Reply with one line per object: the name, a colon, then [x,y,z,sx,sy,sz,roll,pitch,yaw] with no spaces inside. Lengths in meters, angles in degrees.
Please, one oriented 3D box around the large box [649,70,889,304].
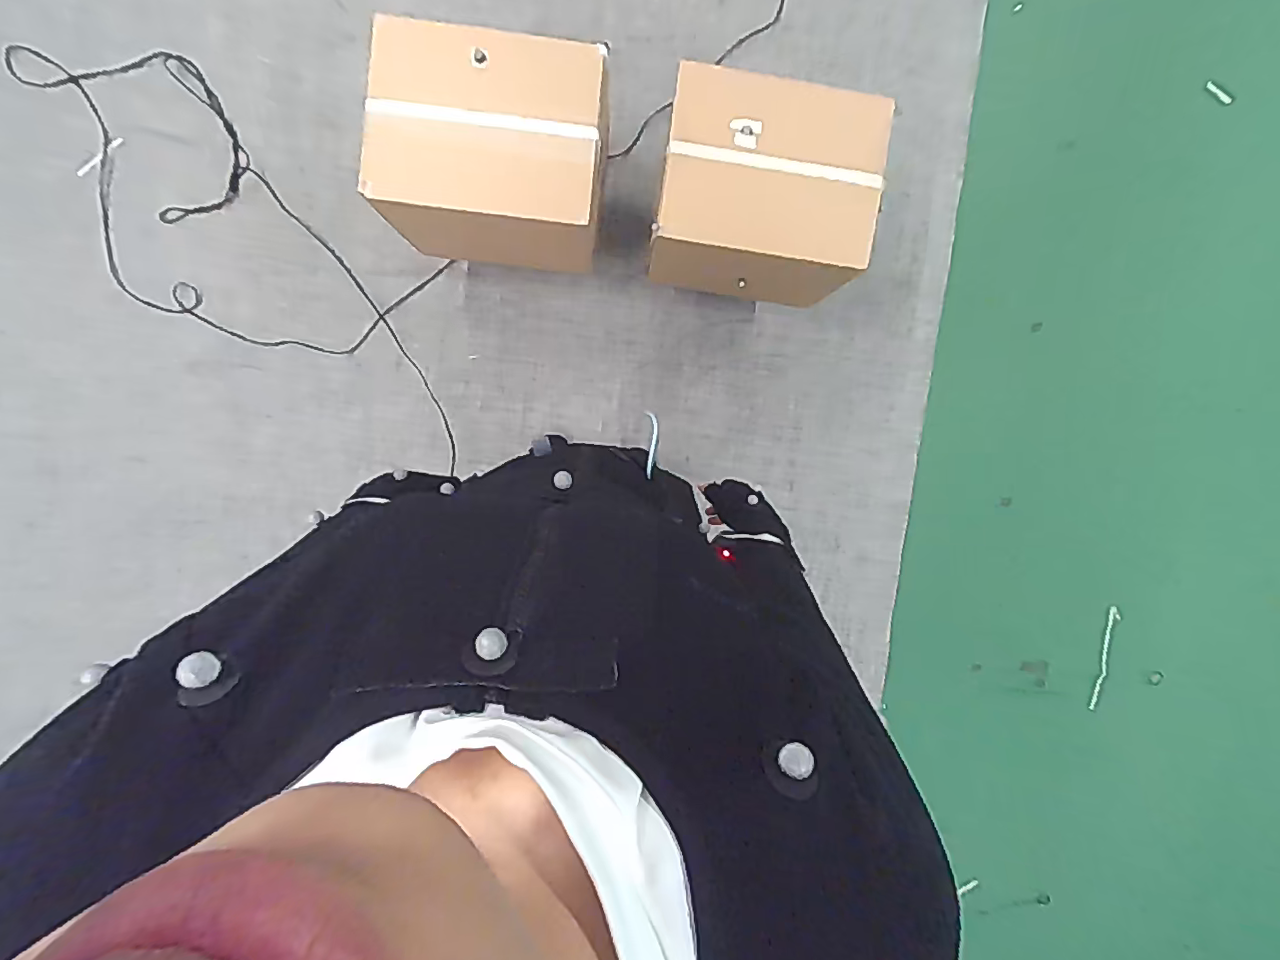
large box: [0.244,-0.587,1.155,0.408,0.320,0.320,8,94,-3]
